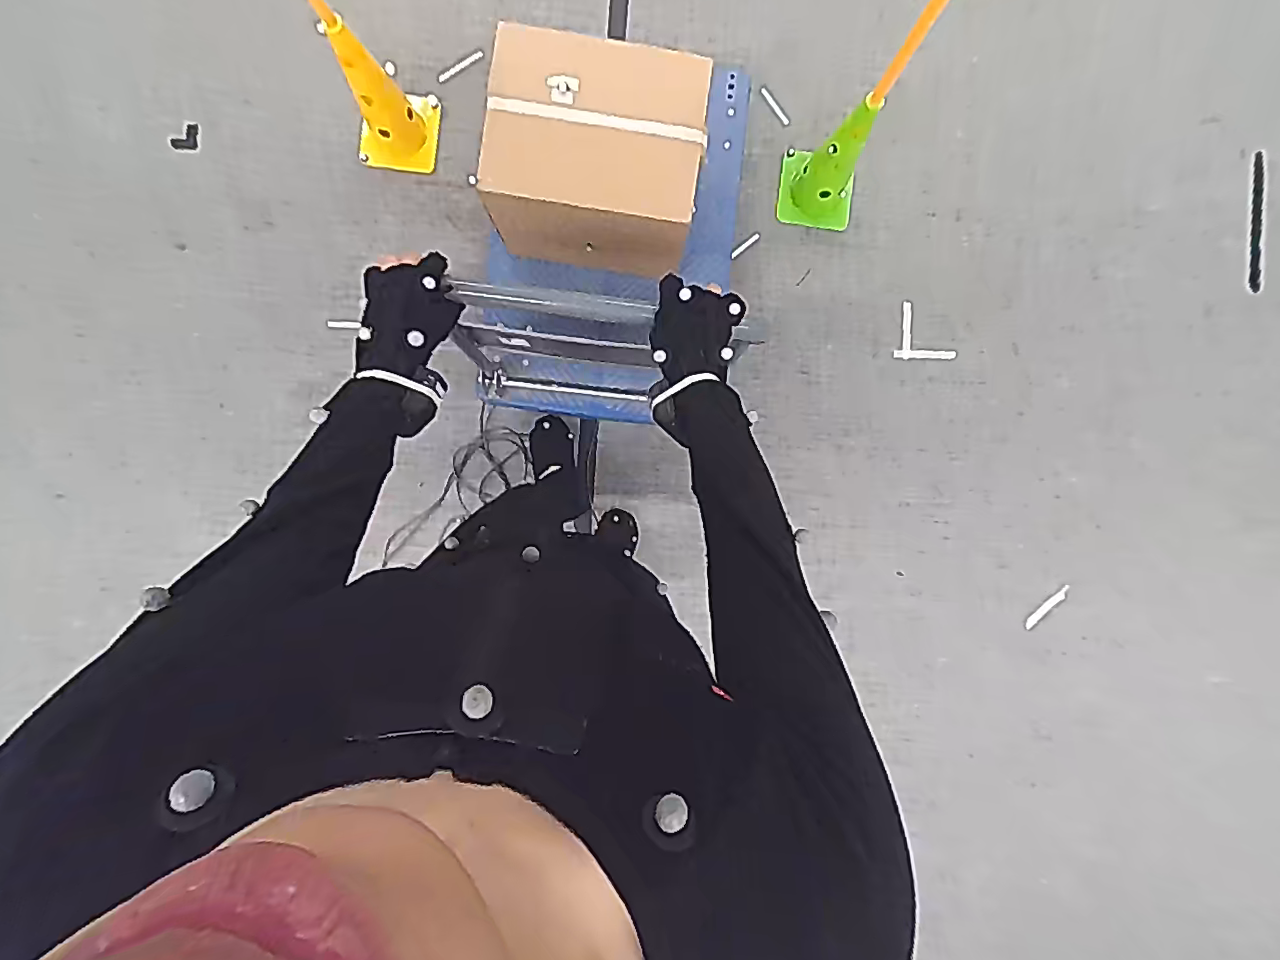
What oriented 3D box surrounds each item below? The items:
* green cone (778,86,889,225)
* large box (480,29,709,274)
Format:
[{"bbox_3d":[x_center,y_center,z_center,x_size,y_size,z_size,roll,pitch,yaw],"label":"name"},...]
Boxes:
[{"bbox_3d":[0.492,-0.808,1.314,0.202,0.368,0.200,7,90,-3],"label":"green cone"},{"bbox_3d":[-0.085,-0.667,1.158,0.408,0.320,0.320,8,91,-1],"label":"large box"}]
